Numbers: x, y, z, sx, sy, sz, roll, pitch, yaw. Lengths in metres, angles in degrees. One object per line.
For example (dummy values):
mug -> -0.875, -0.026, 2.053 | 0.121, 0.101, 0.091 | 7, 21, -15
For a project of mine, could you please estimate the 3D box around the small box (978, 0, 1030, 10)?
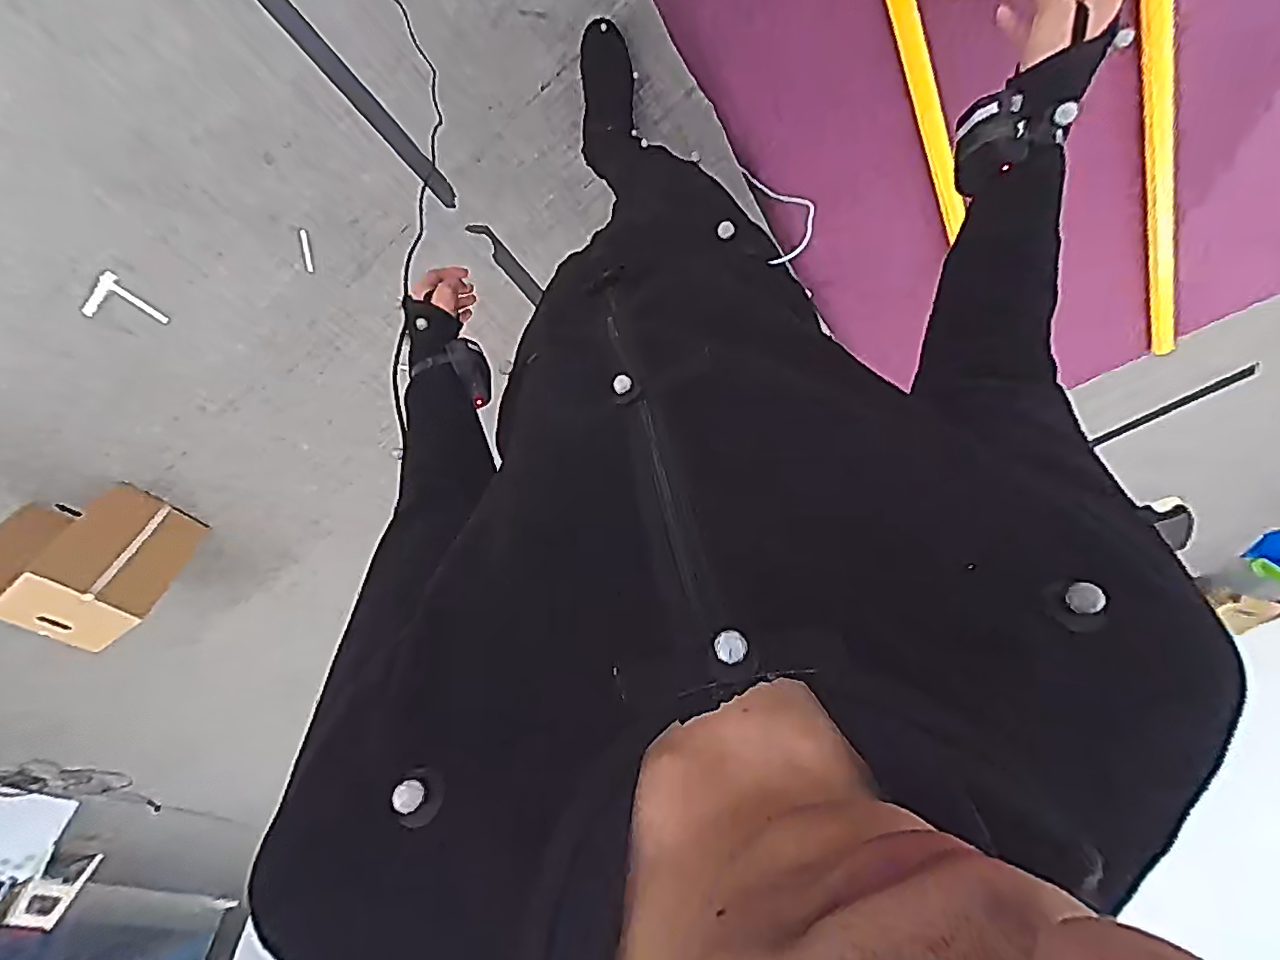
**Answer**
small box -> 0.326, -0.552, 0.451 | 0.168, 0.176, 0.179 | -37, 126, 26
